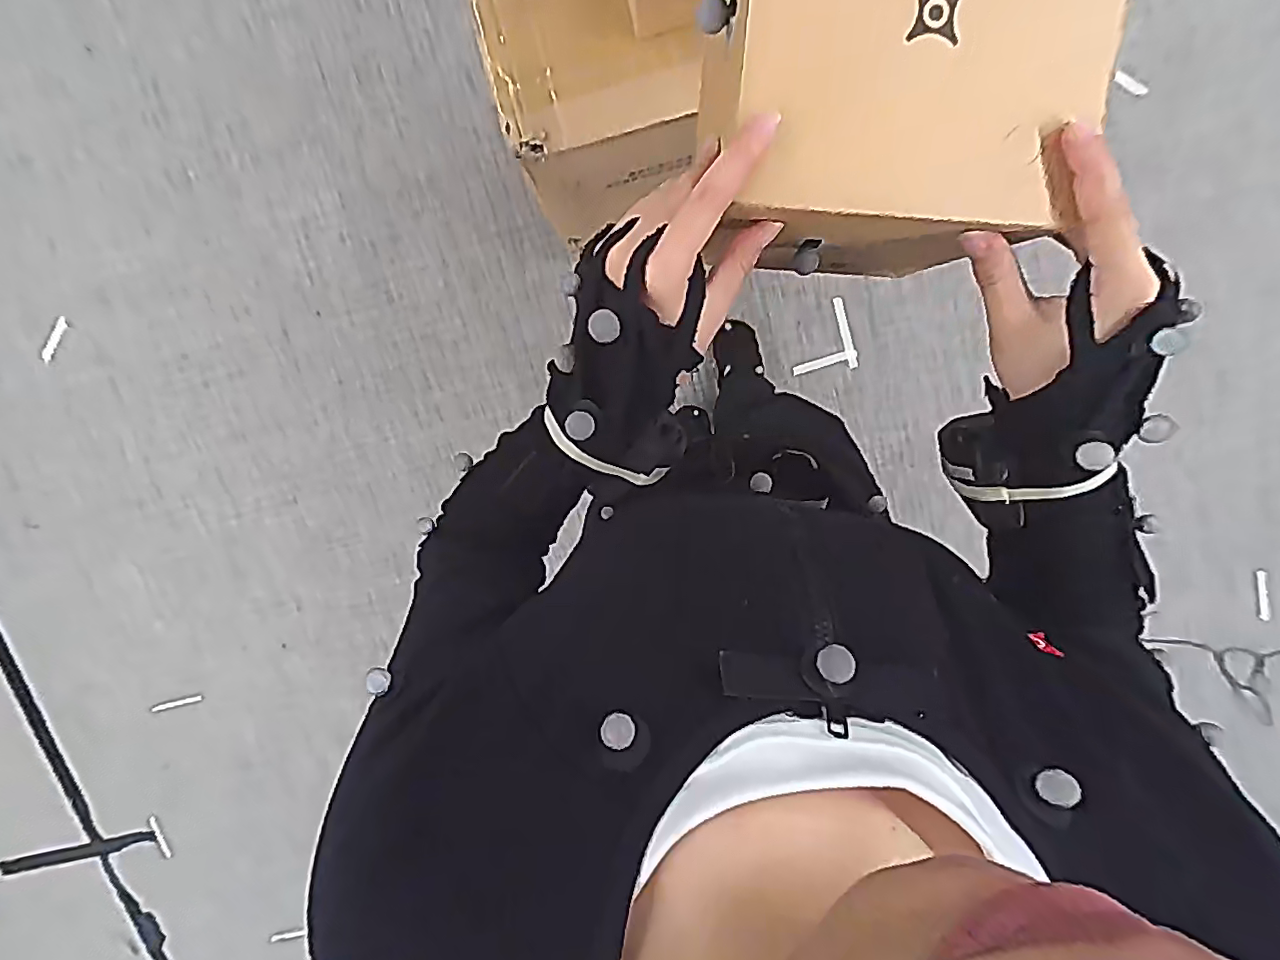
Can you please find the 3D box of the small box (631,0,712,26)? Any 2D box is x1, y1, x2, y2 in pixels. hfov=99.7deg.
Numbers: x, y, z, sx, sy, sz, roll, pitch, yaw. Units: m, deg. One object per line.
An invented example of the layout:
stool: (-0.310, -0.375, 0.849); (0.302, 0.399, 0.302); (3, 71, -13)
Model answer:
small box: (0.059, -0.629, 0.564); (0.179, 0.176, 0.168); (-14, 99, 3)

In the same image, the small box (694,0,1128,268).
small box: (0.124, -0.226, 0.306); (0.168, 0.176, 0.179); (3, 101, -1)
